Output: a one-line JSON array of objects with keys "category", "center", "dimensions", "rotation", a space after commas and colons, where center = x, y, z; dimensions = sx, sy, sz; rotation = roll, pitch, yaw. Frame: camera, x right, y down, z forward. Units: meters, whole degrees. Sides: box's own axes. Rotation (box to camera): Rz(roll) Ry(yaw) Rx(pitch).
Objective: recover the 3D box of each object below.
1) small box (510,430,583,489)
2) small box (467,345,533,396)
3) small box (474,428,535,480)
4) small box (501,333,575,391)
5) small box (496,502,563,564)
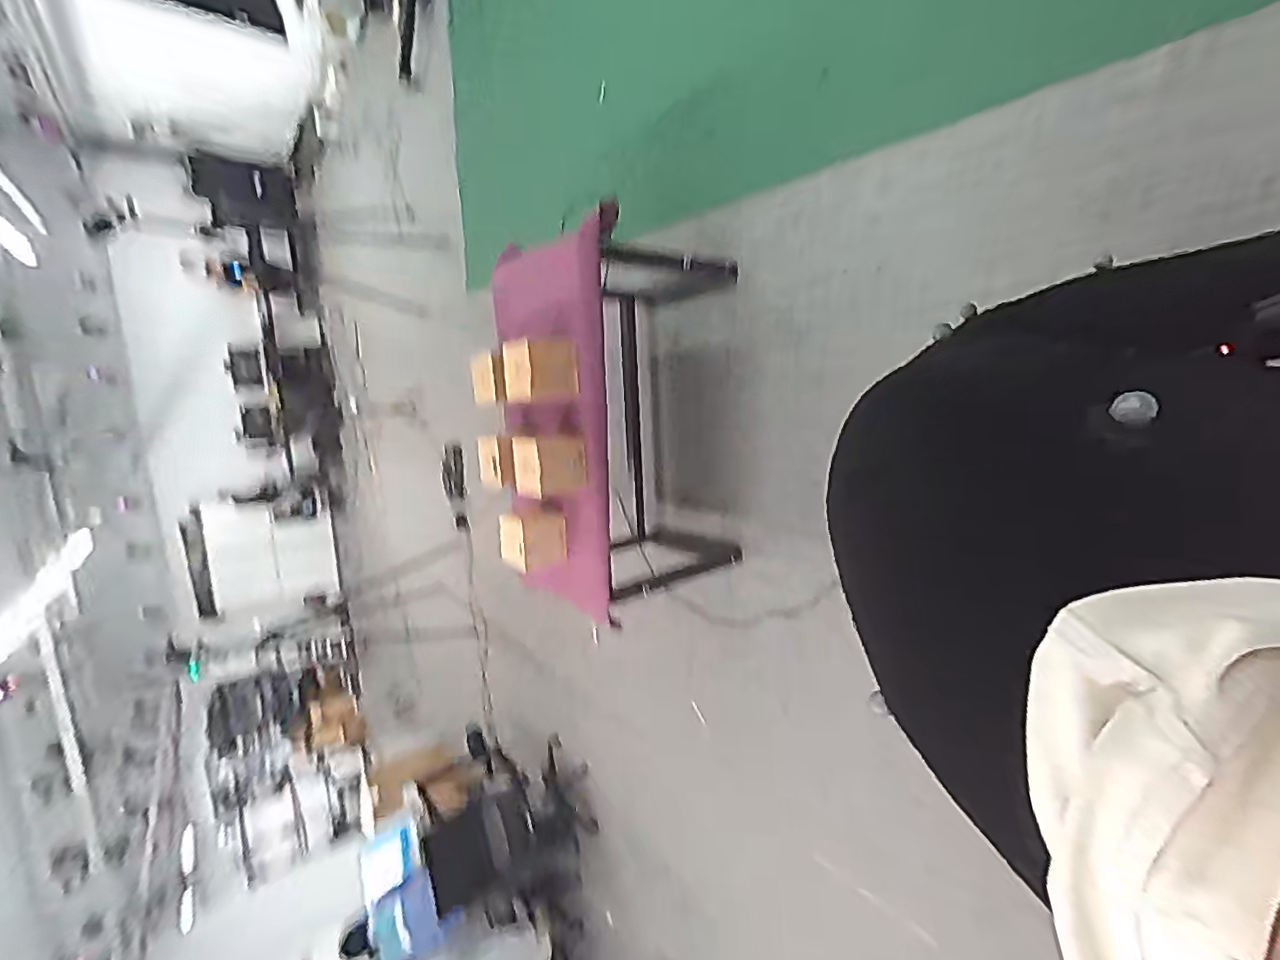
[{"category": "small box", "center": [-0.297, -0.070, 1.723], "dimensions": [0.179, 0.176, 0.168], "rotation": [8, 104, 51]}, {"category": "small box", "center": [-0.486, -0.380, 1.895], "dimensions": [0.179, 0.176, 0.168], "rotation": [7, 104, 49]}, {"category": "small box", "center": [-0.477, -0.098, 1.942], "dimensions": [0.179, 0.176, 0.168], "rotation": [8, 104, 50]}, {"category": "small box", "center": [-0.319, -0.364, 1.691], "dimensions": [0.179, 0.176, 0.168], "rotation": [8, 104, 50]}, {"category": "small box", "center": [-0.385, 0.176, 1.882], "dimensions": [0.179, 0.176, 0.168], "rotation": [11, 107, 50]}]
